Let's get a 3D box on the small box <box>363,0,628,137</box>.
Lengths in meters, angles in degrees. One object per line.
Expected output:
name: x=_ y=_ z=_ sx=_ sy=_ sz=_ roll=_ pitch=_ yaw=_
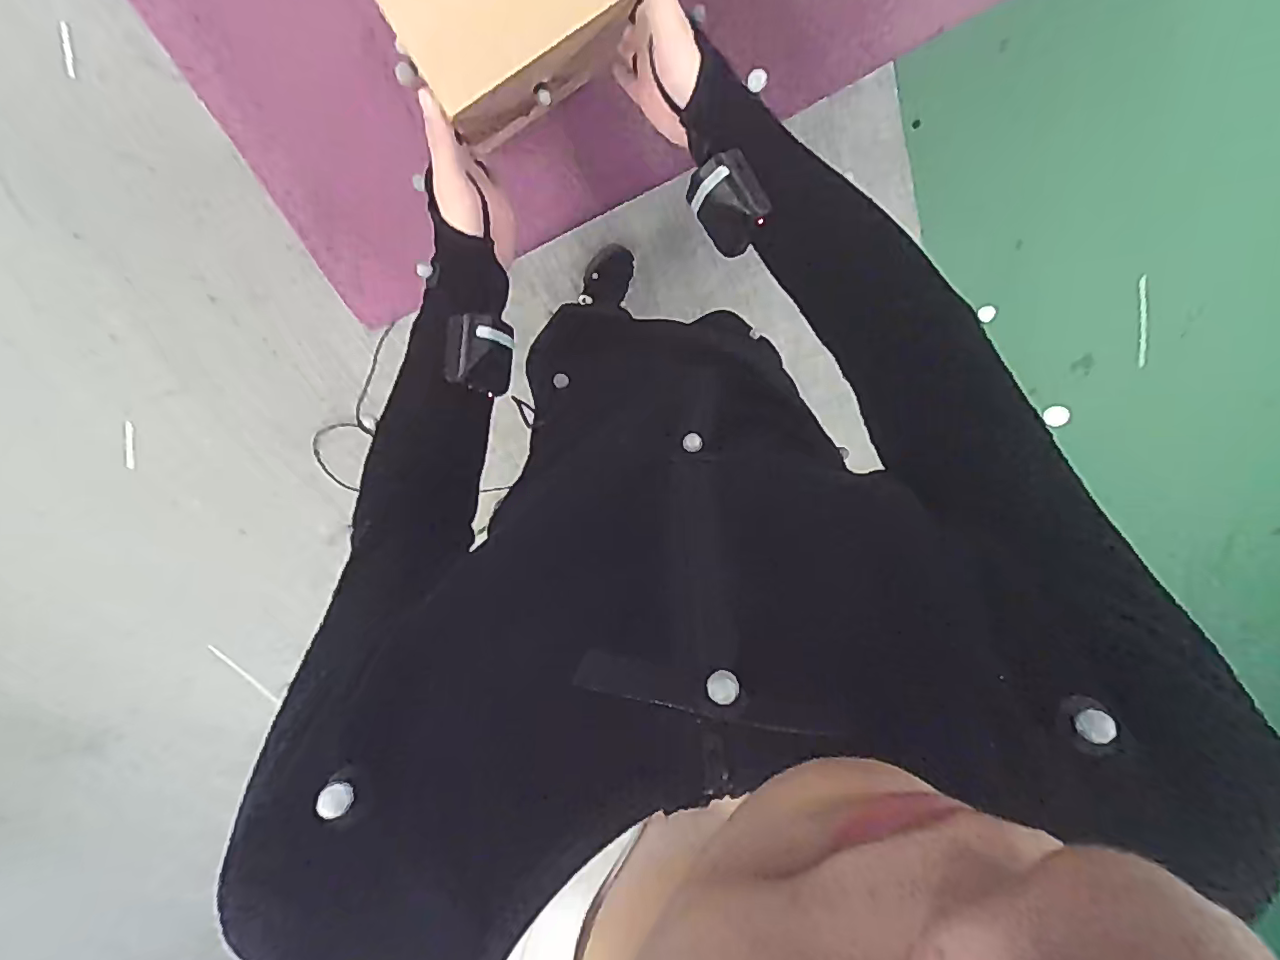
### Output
small box: x=-0.128 y=-0.398 z=0.420 sx=0.168 sy=0.176 sz=0.179 roll=-31 pitch=116 yaw=5

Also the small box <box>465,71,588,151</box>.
small box: x=-0.165 y=-0.479 z=0.562 sx=0.168 sy=0.176 sz=0.179 roll=-31 pitch=115 yaw=7
